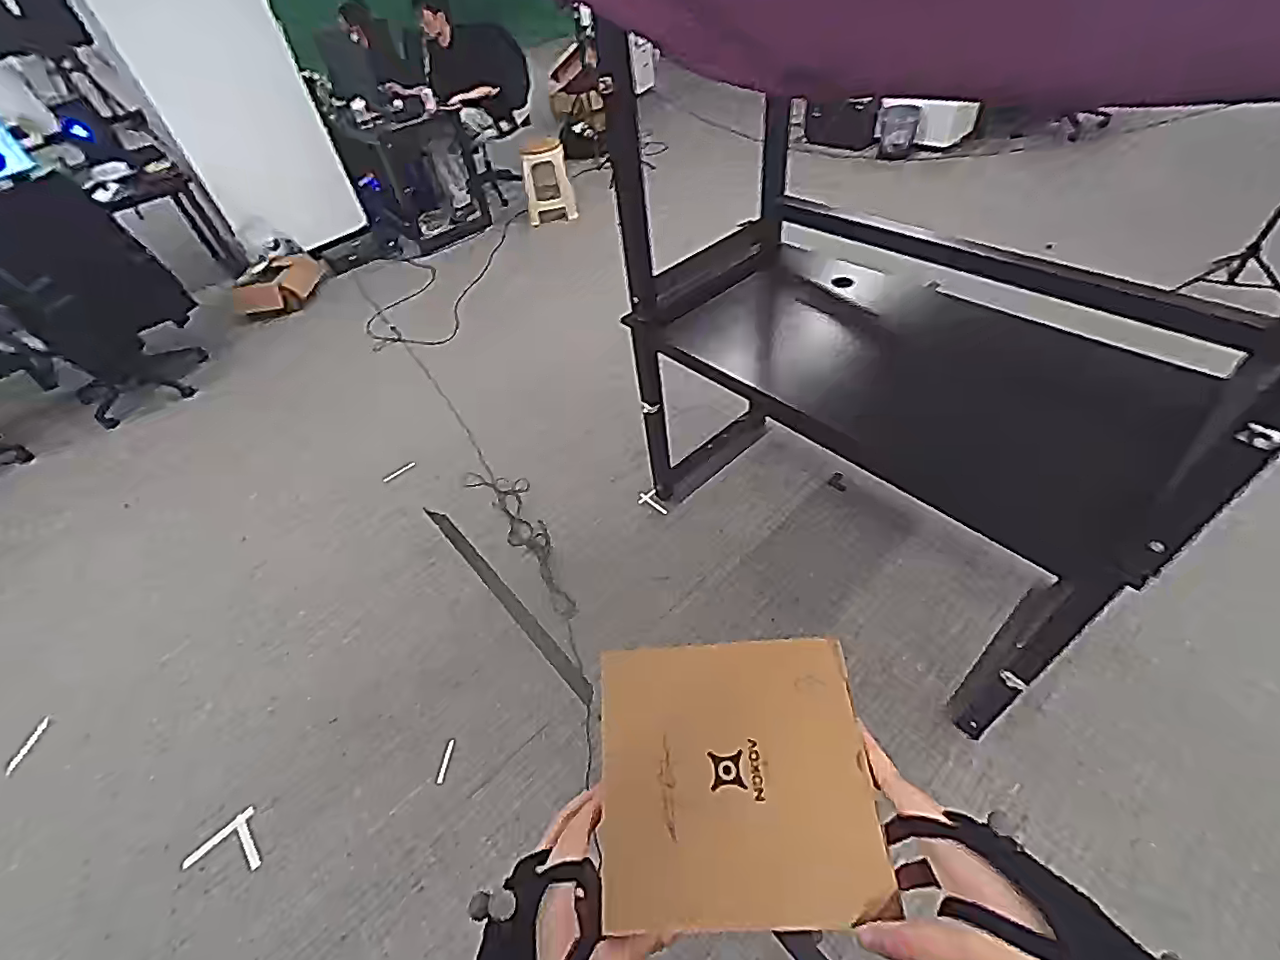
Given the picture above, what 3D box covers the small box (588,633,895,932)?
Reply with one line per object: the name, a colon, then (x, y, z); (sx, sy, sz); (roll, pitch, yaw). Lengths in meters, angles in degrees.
small box: (0.063, 0.227, 0.413); (0.179, 0.176, 0.168); (-6, 55, 5)
